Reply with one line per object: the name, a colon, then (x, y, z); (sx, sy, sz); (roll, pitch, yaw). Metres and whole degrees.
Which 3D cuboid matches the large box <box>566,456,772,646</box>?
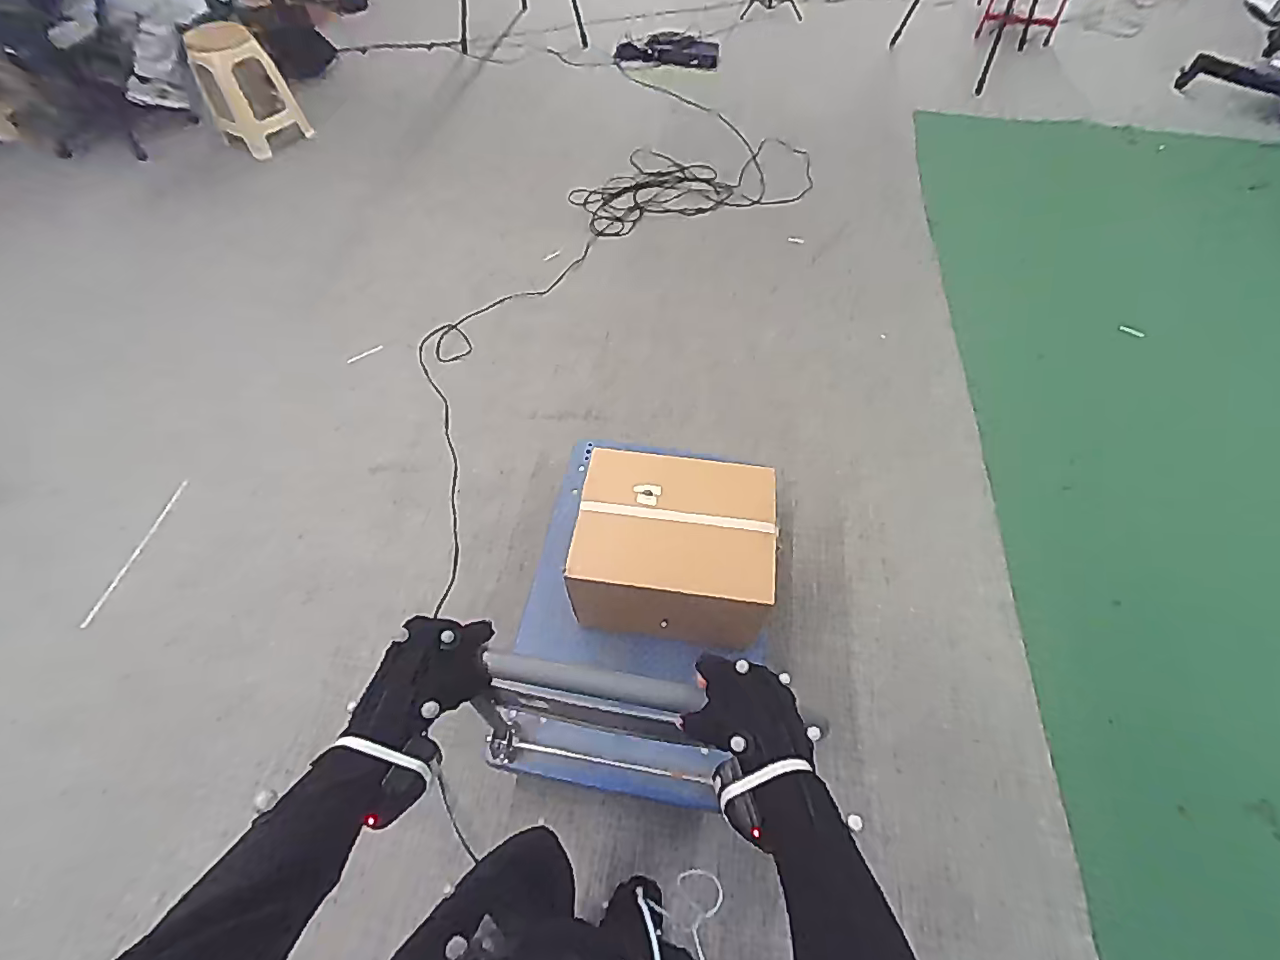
large box: (0.077, 0.170, 1.242); (0.408, 0.320, 0.320); (6, 56, 6)
